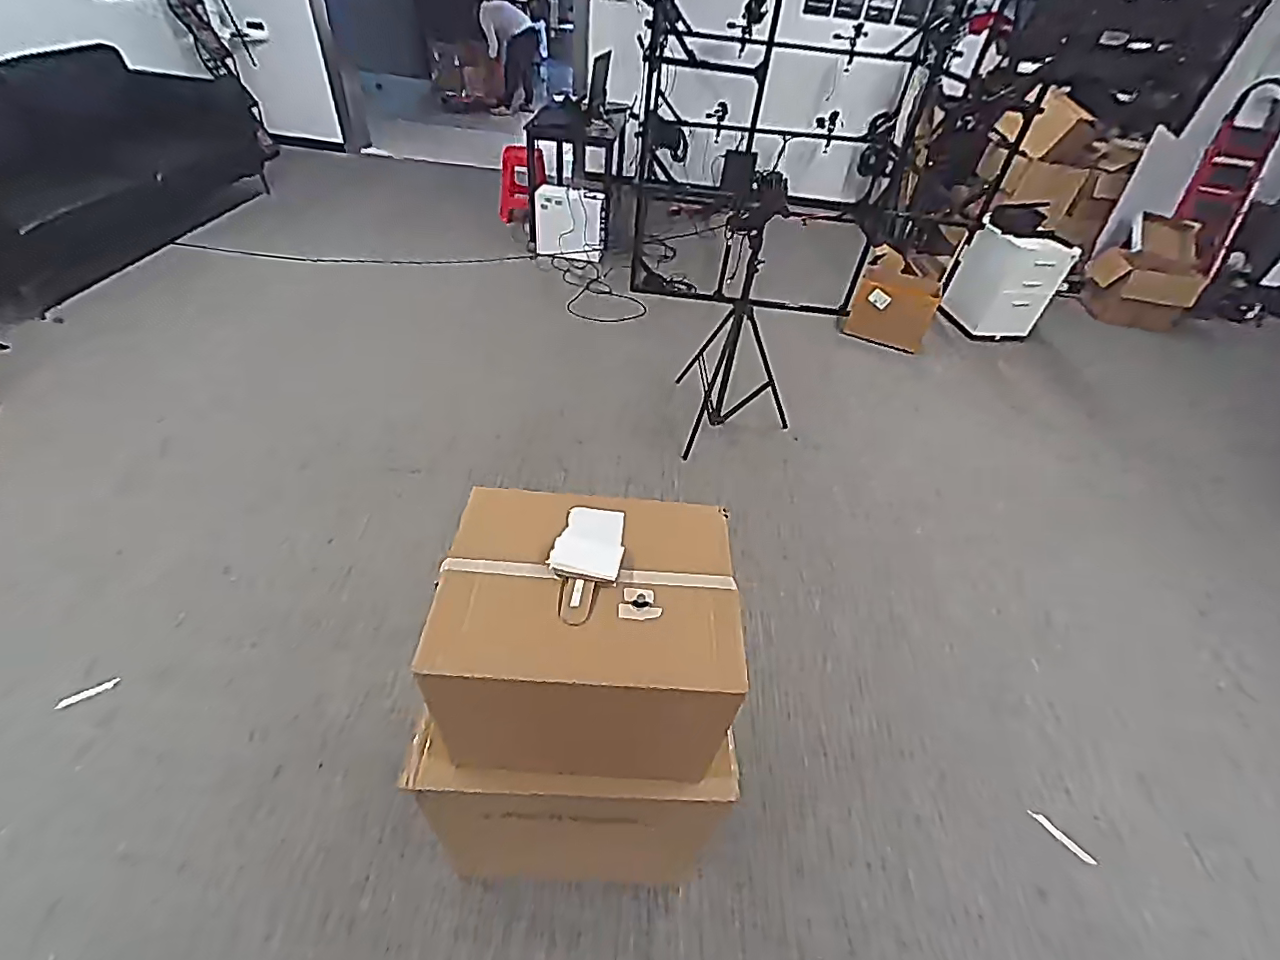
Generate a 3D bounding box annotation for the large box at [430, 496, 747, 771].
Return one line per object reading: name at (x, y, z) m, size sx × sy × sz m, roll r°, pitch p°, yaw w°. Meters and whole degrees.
large box at (-0.077, 0.250, 0.875) m, size 0.408 × 0.320 × 0.320 m, roll 5°, pitch 43°, yaw -4°
